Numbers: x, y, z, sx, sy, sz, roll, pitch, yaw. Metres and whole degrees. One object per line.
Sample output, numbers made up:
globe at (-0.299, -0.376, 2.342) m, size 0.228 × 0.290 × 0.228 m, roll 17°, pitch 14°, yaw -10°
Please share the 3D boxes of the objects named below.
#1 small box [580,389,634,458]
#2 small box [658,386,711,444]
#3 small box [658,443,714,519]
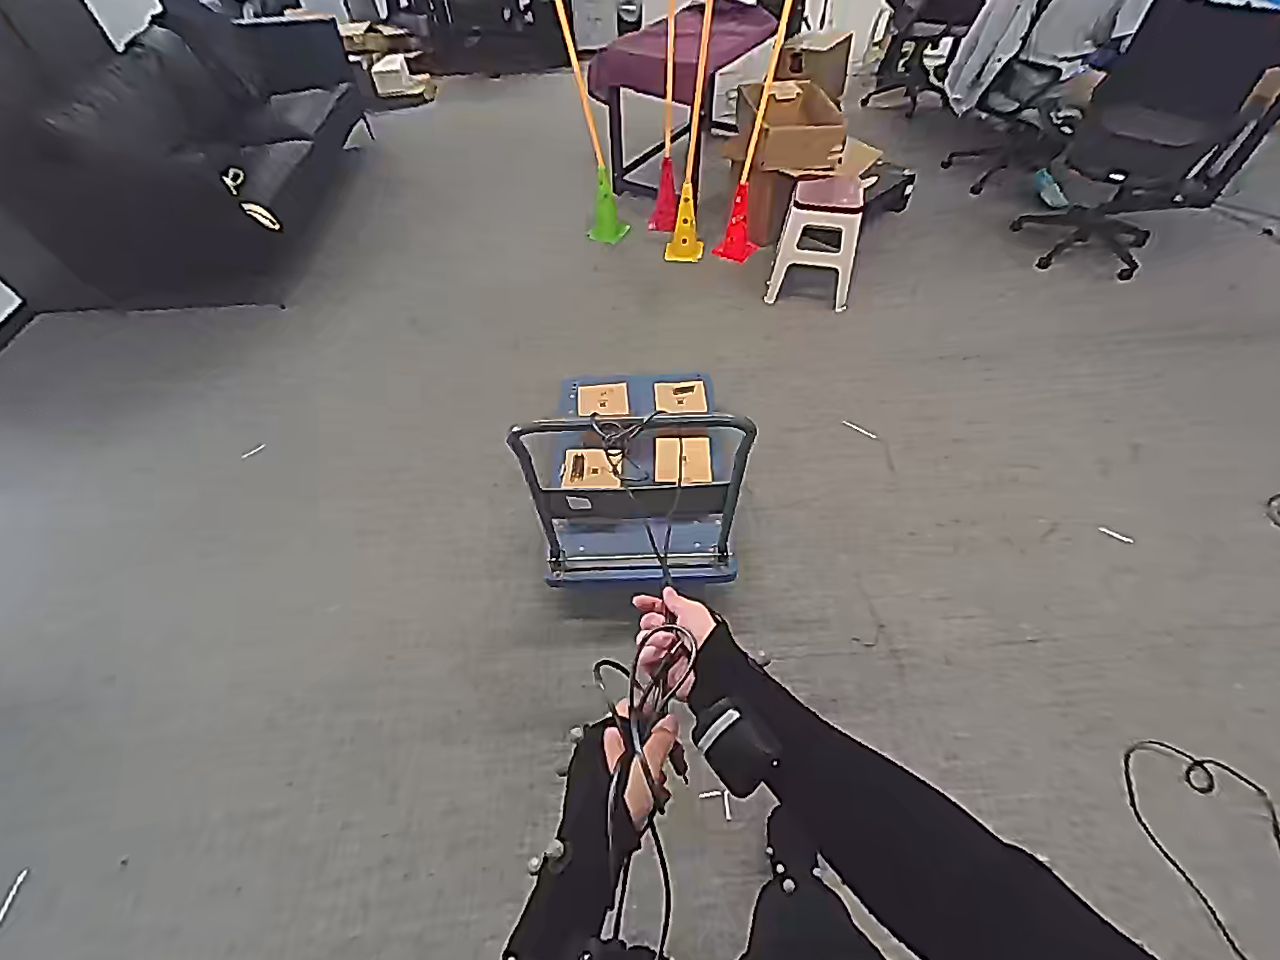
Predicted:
small box at (-0.110, -0.186, 1.838) m, size 0.168 × 0.176 × 0.179 m, roll -4°, pitch 53°, yaw -1°
small box at (0.146, -0.196, 1.829) m, size 0.168 × 0.176 × 0.179 m, roll -4°, pitch 53°, yaw 2°
small box at (0.140, 0.003, 1.681) m, size 0.168 × 0.176 × 0.179 m, roll -1°, pitch 54°, yaw 3°
